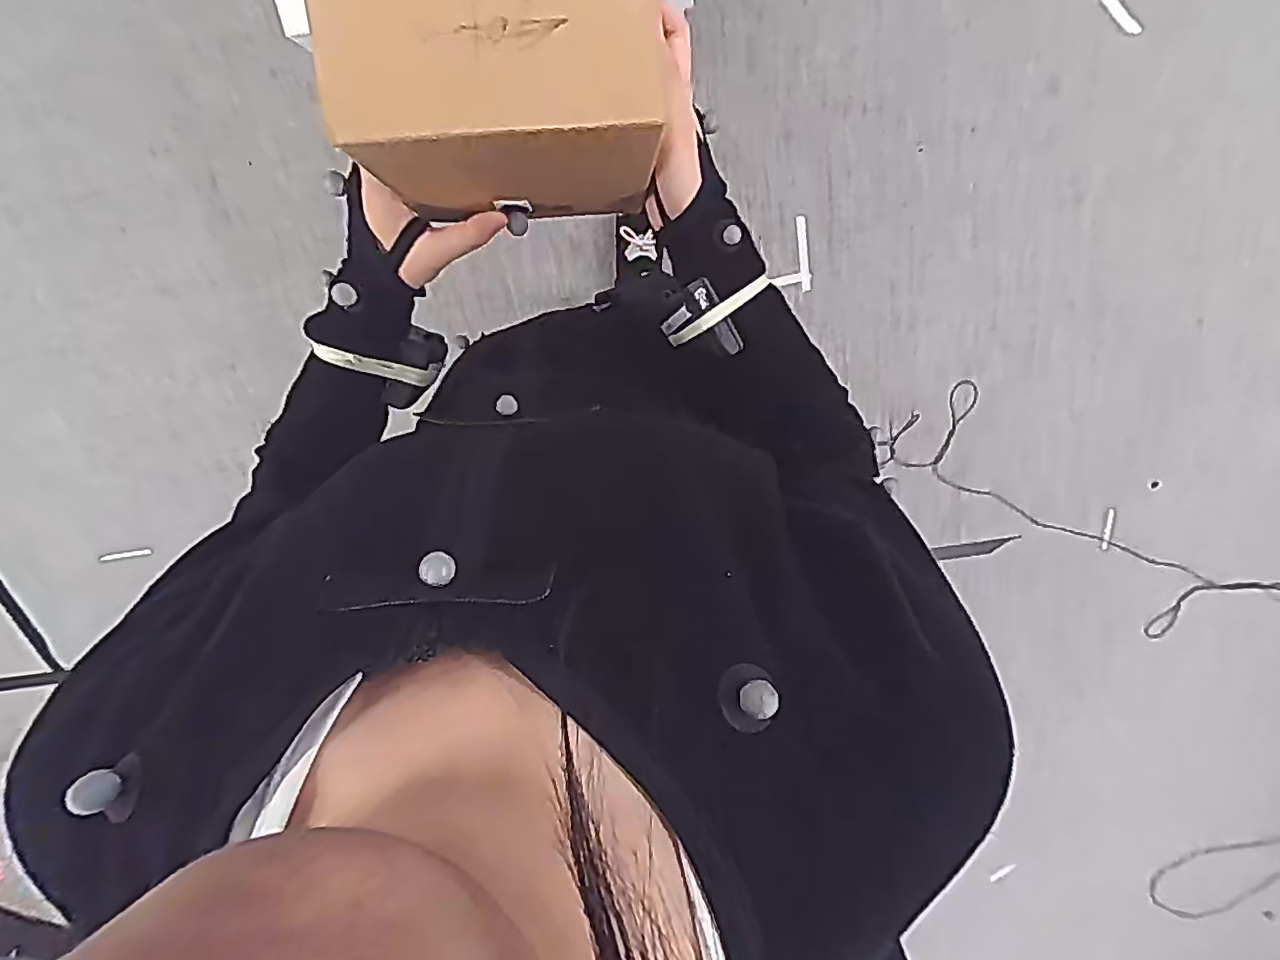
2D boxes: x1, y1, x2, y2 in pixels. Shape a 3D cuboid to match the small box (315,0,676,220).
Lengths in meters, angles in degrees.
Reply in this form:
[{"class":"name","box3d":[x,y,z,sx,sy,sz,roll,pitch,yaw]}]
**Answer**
[{"class":"small box","box3d":[-0.076,-0.274,0.322,0.168,0.176,0.179,-6,103,-3]}]
